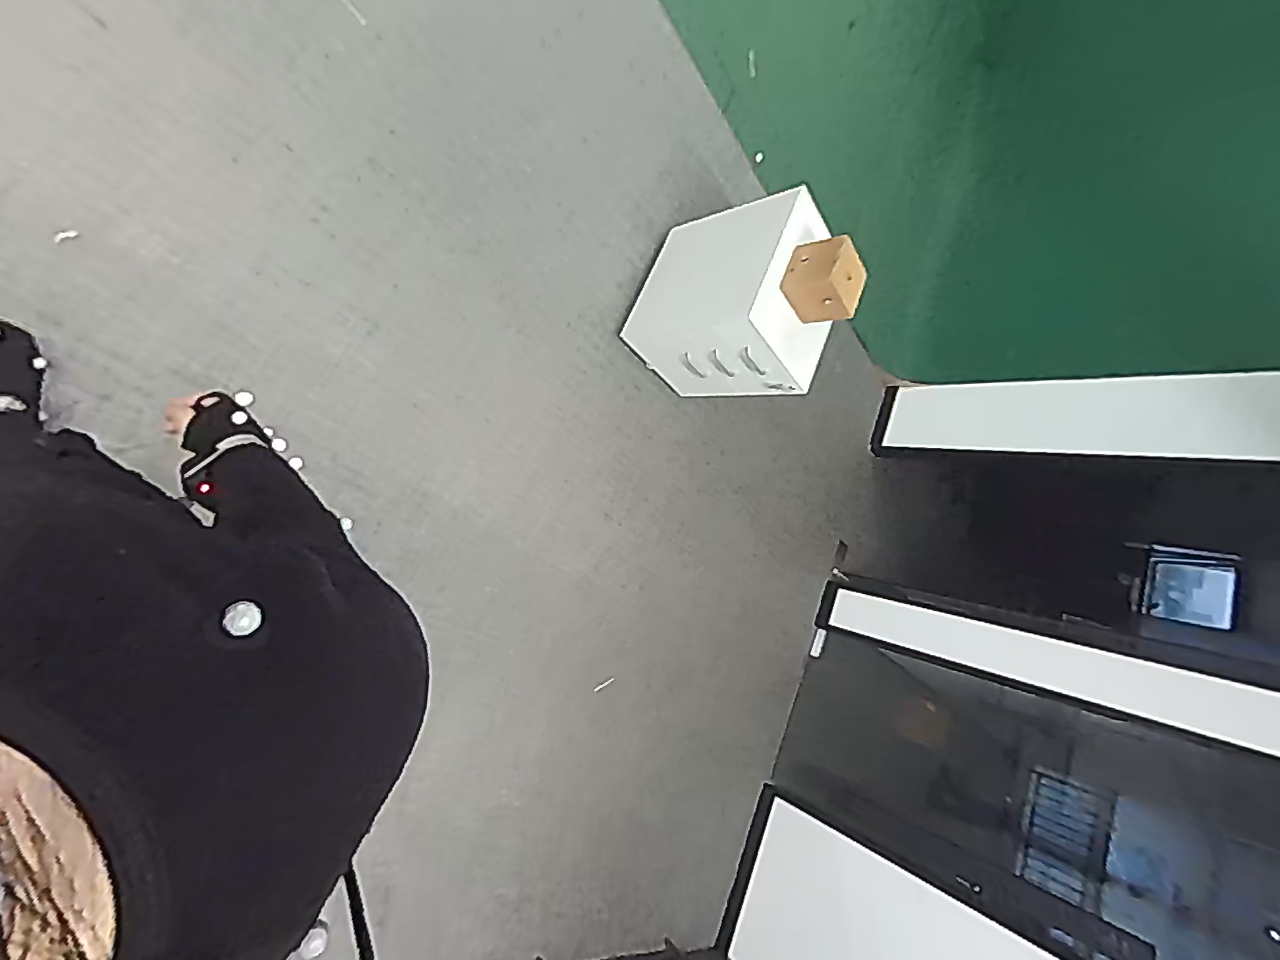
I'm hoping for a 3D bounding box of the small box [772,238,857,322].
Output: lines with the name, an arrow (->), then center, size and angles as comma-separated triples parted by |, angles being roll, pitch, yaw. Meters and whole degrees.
small box -> 0.532, -0.602, 1.650 | 0.179, 0.176, 0.168 | 37, 69, -42
